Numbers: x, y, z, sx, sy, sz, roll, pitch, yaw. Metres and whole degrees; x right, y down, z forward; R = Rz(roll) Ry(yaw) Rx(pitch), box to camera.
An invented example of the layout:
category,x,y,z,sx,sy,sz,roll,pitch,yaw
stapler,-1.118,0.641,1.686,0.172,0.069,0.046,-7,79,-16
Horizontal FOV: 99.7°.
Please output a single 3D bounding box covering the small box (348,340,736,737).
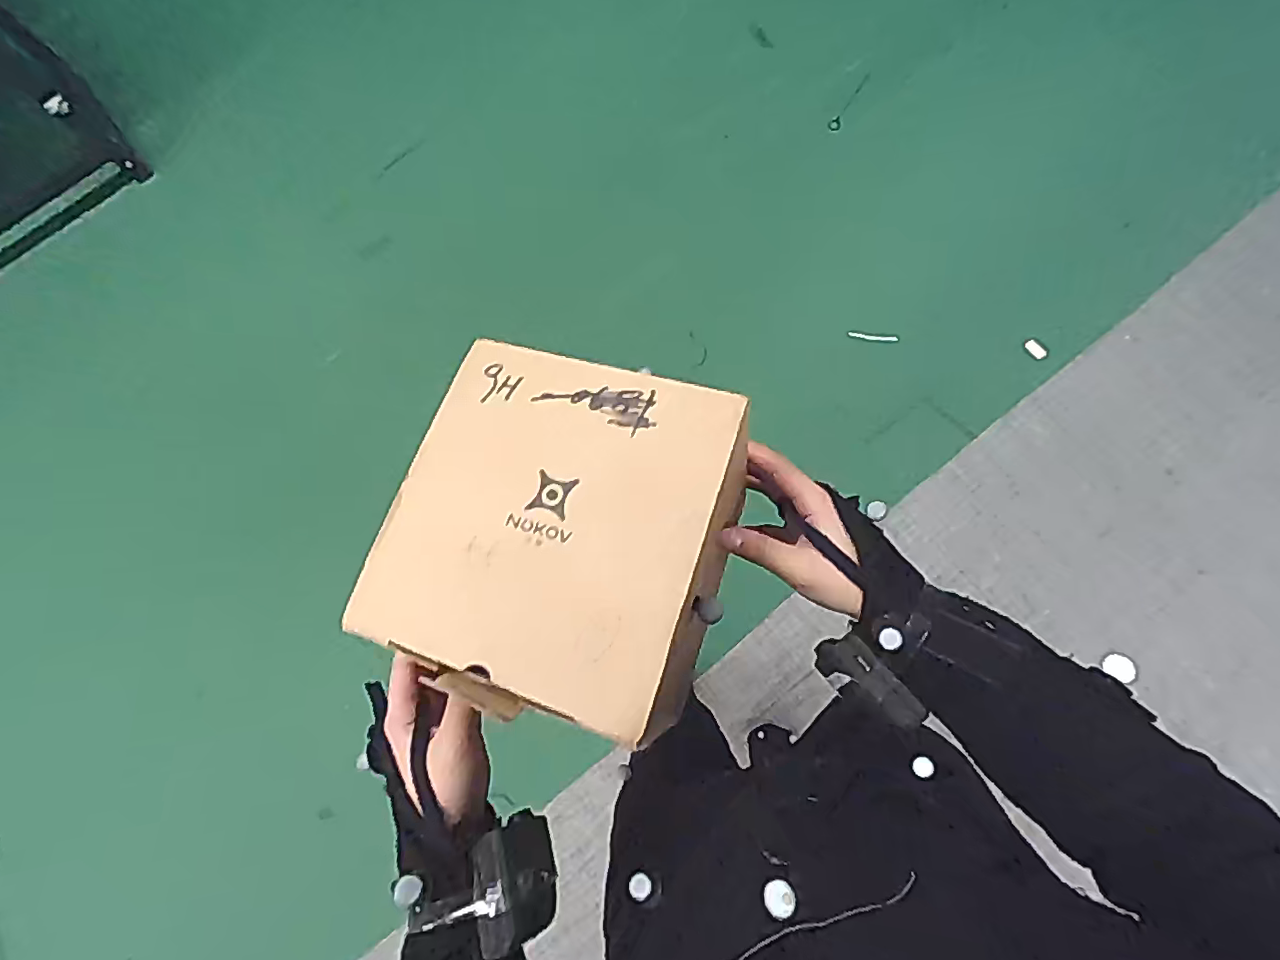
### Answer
category,x,y,z,sx,sy,sz,roll,pitch,yaw
small box,-0.036,0.041,0.355,0.168,0.176,0.179,16,75,15
